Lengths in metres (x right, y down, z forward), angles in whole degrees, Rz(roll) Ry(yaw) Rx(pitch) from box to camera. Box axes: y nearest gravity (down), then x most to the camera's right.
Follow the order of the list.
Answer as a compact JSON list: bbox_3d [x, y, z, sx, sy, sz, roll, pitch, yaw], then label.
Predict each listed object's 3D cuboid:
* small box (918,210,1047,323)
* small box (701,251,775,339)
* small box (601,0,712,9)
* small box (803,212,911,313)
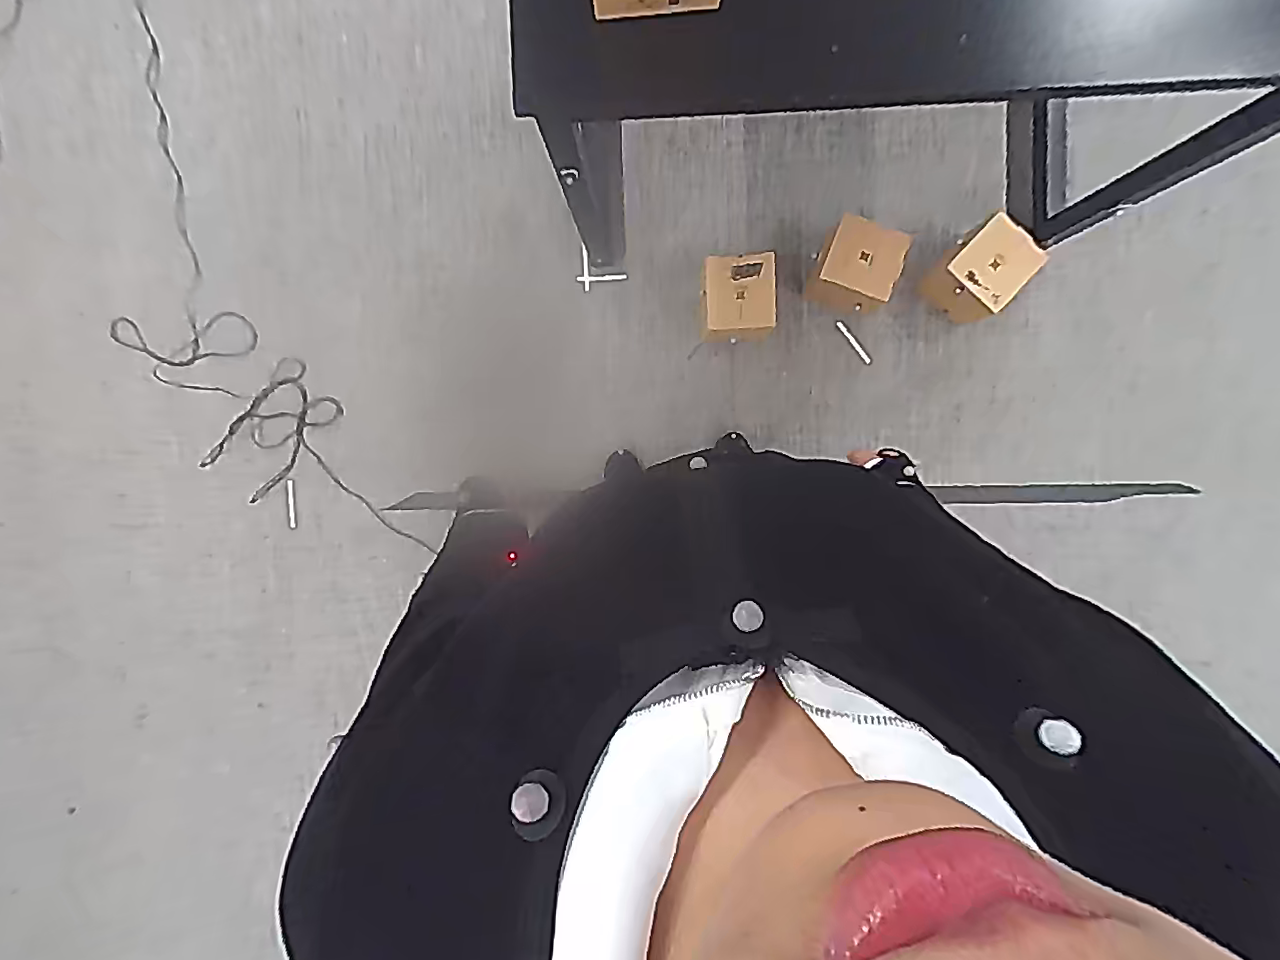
[{"bbox_3d":[0.839,-0.521,1.346,0.168,0.176,0.179,42,95,-1],"label":"small box"},{"bbox_3d":[0.244,-0.463,1.376,0.168,0.176,0.179,-2,96,3],"label":"small box"},{"bbox_3d":[0.014,-0.700,0.632,0.168,0.176,0.179,-4,94,2],"label":"small box"},{"bbox_3d":[0.536,-0.537,1.359,0.179,0.176,0.168,20,94,2],"label":"small box"}]
